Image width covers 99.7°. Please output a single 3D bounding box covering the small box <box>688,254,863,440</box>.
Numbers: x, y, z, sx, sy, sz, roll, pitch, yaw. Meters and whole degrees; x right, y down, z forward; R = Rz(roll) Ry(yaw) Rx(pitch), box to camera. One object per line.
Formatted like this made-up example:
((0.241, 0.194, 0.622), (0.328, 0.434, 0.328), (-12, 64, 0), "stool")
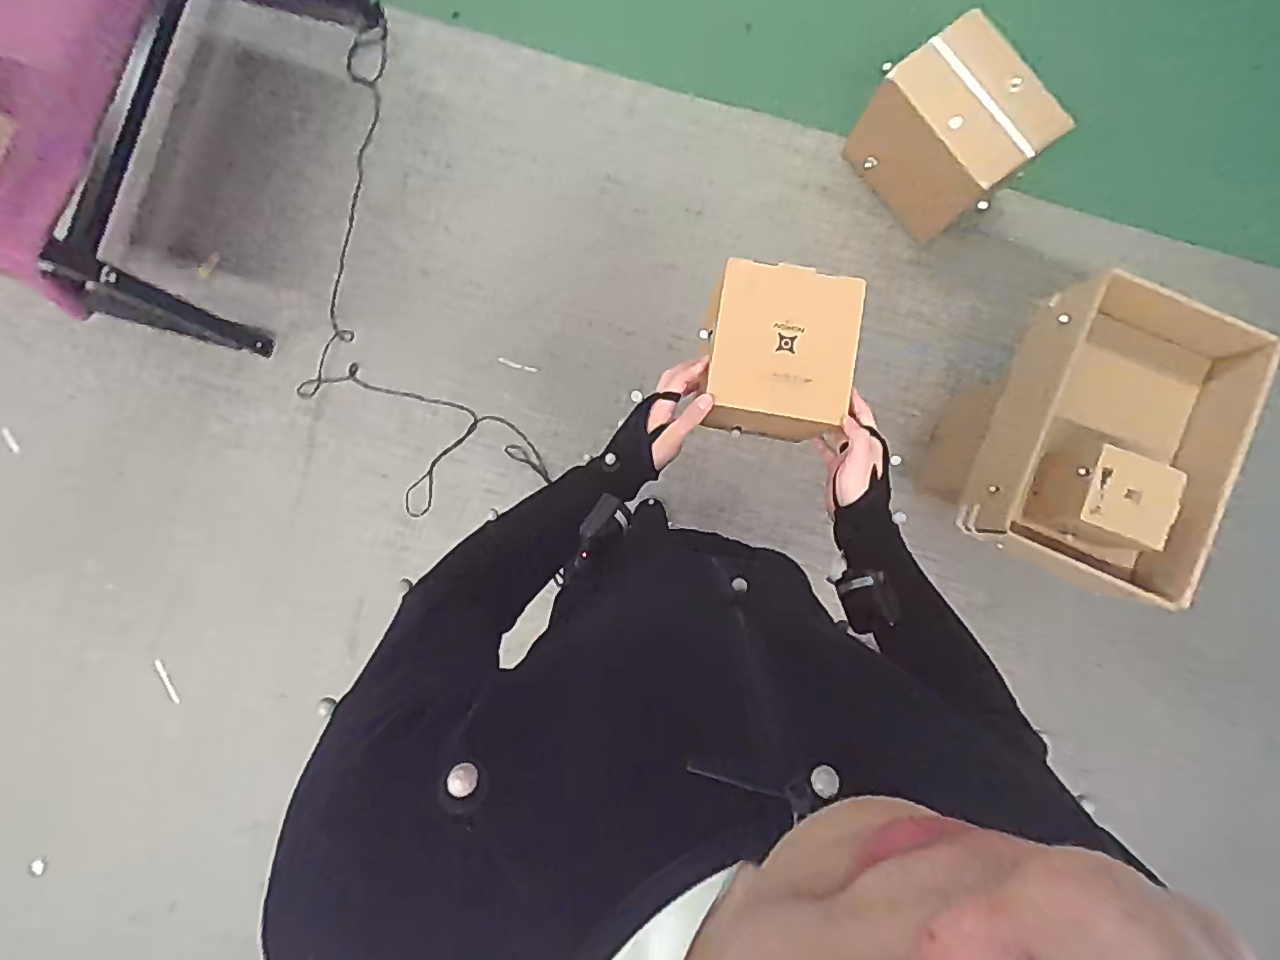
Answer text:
((0.161, -0.157, 0.695), (0.168, 0.176, 0.179), (9, 87, -1), "small box")
